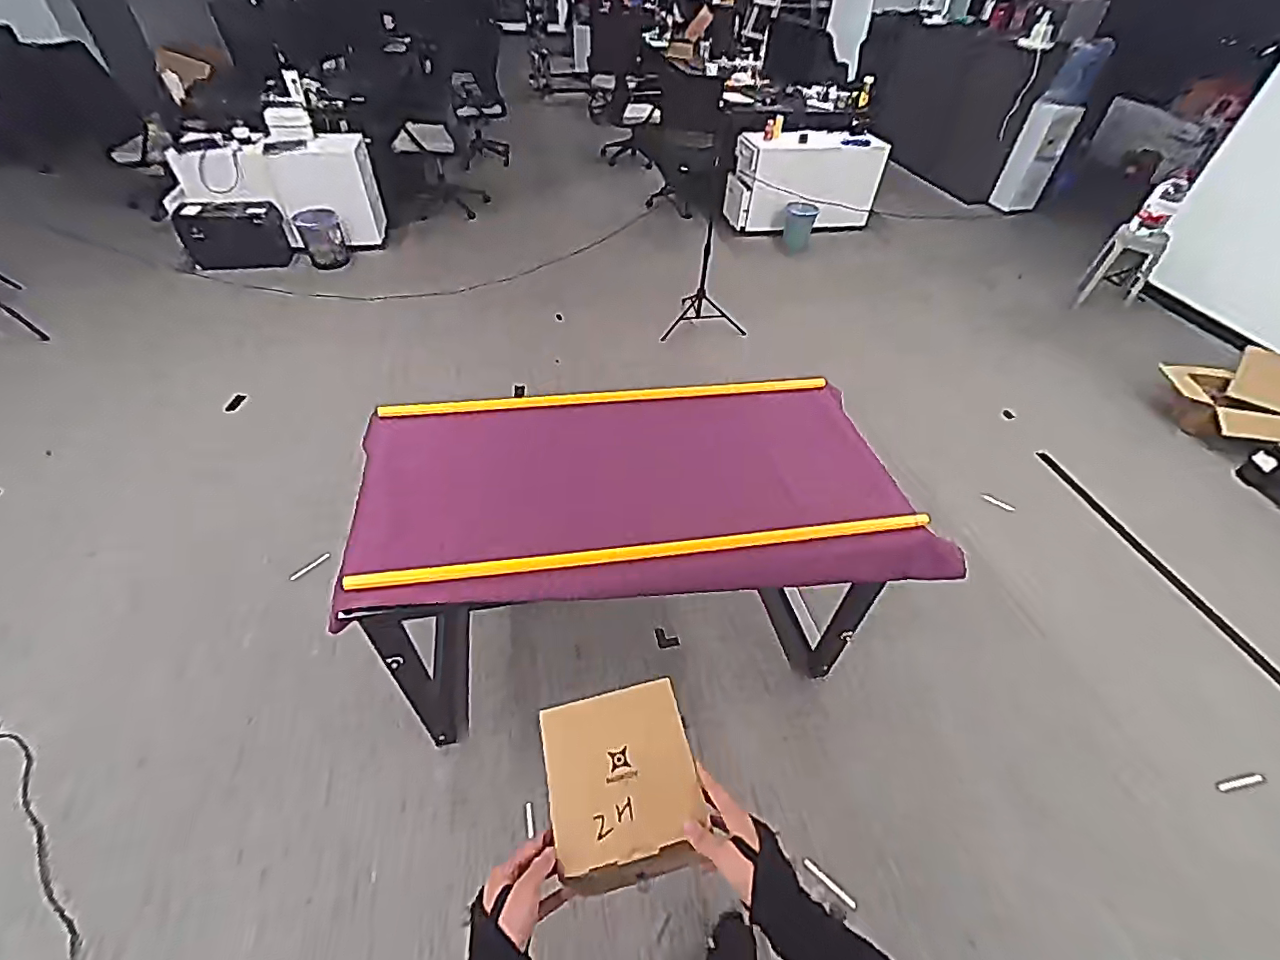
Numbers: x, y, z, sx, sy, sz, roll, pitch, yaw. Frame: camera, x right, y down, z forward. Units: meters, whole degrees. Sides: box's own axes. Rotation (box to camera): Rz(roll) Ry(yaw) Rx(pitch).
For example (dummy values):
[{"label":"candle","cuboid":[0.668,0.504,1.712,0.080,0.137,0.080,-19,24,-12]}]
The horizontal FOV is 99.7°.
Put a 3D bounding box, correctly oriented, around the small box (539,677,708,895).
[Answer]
[{"label":"small box","cuboid":[-0.023,0.379,0.671,0.168,0.176,0.179,-12,47,-8]}]
